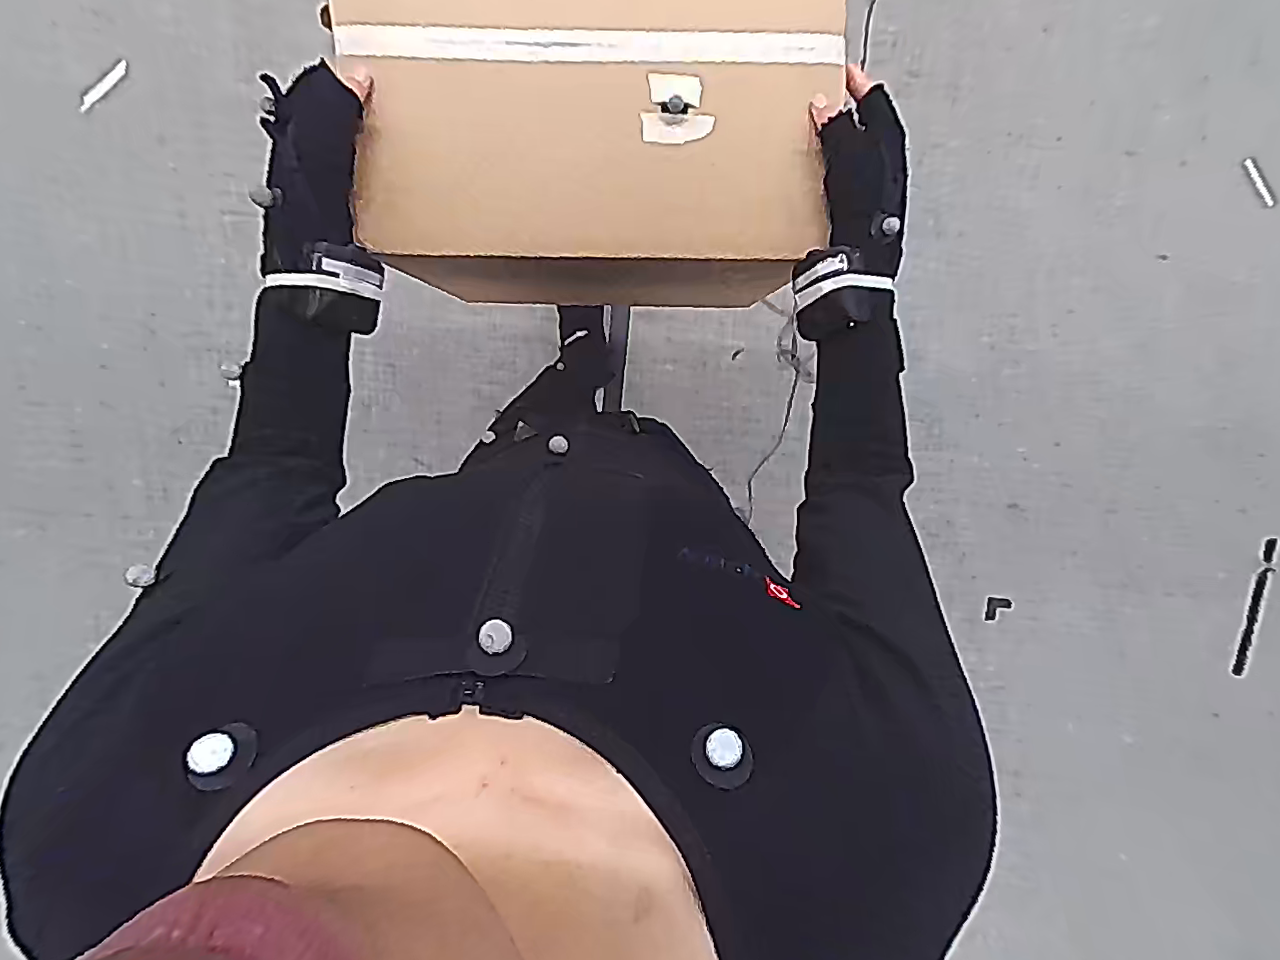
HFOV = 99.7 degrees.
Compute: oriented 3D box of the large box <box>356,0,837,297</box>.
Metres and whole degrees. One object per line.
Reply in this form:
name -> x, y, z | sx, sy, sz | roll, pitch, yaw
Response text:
large box -> -0.040, -0.387, 0.598 | 0.408, 0.320, 0.320 | 0, 102, -2
